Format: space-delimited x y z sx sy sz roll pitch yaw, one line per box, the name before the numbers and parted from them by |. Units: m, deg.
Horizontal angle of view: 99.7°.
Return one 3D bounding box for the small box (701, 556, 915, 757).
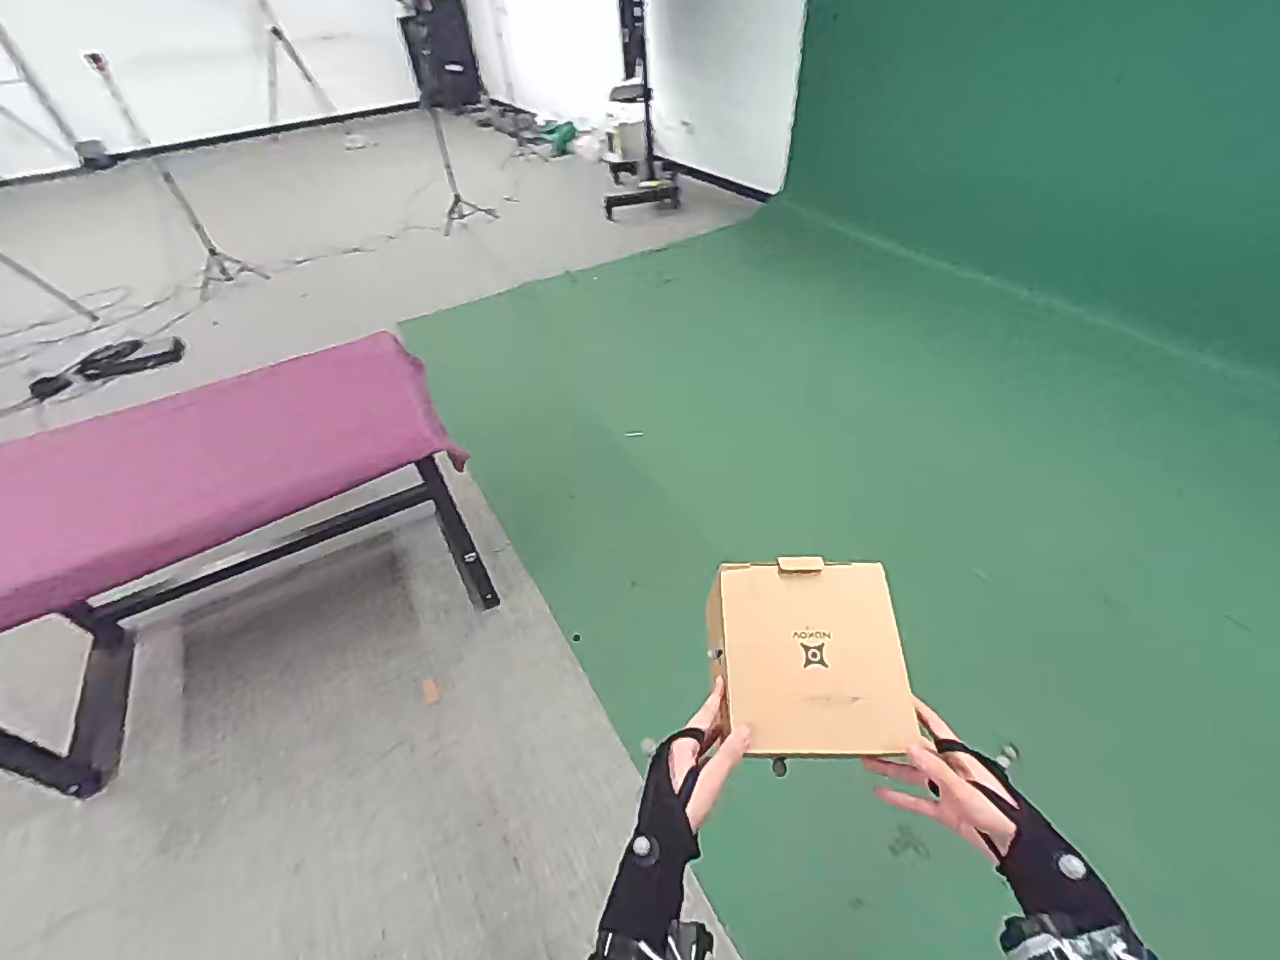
small box | 0.155 0.192 0.571 0.168 0.176 0.179 -1 62 2
